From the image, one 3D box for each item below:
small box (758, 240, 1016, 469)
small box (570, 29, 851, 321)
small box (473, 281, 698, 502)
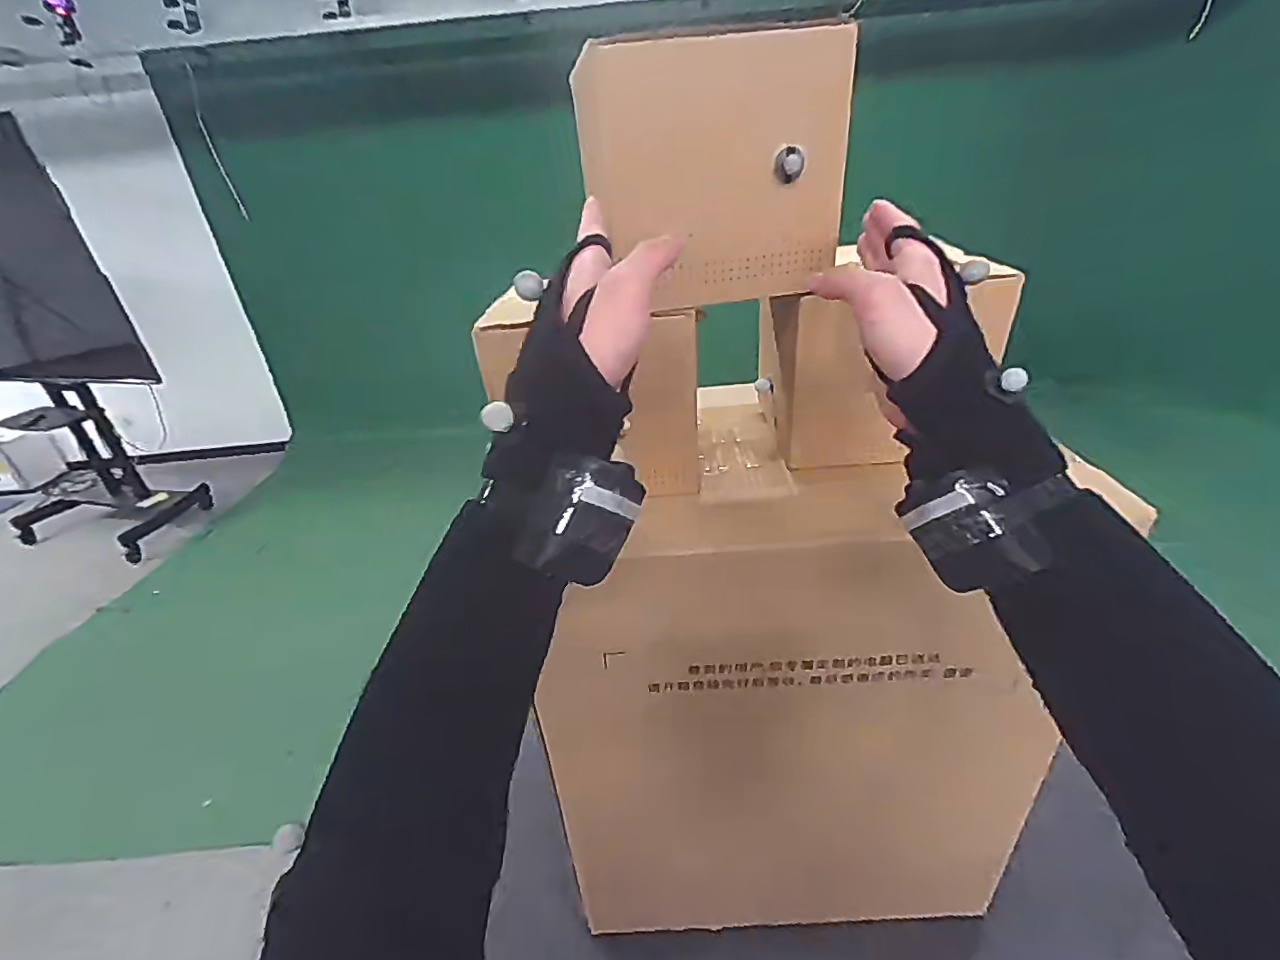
[{"bbox_3d":[0.217,-0.125,0.534,0.179,0.176,0.168,-4,33,4],"label":"small box"},{"bbox_3d":[0.045,-0.240,0.443,0.179,0.176,0.168,-10,31,-5],"label":"small box"},{"bbox_3d":[-0.038,-0.090,0.527,0.179,0.176,0.168,-3,32,3],"label":"small box"}]
